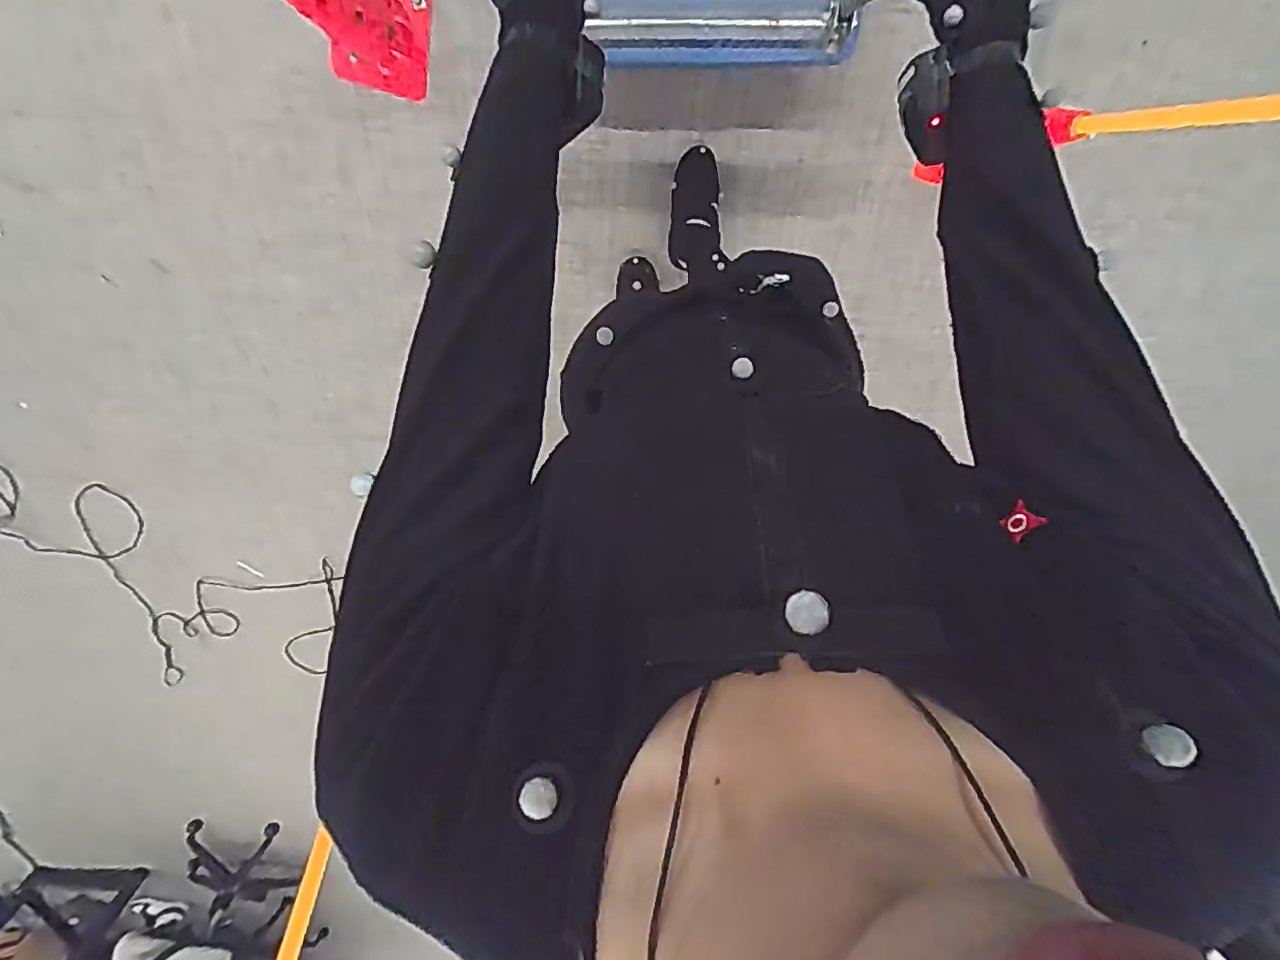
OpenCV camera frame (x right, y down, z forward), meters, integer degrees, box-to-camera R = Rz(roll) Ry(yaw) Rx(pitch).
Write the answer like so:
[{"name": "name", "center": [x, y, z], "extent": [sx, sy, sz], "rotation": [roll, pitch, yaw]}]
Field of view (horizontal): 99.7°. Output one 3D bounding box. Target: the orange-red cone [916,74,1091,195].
[{"name": "orange-red cone", "center": [0.728, -0.669, 1.040], "extent": [0.198, 0.360, 0.199], "rotation": [13, 120, -5]}]
